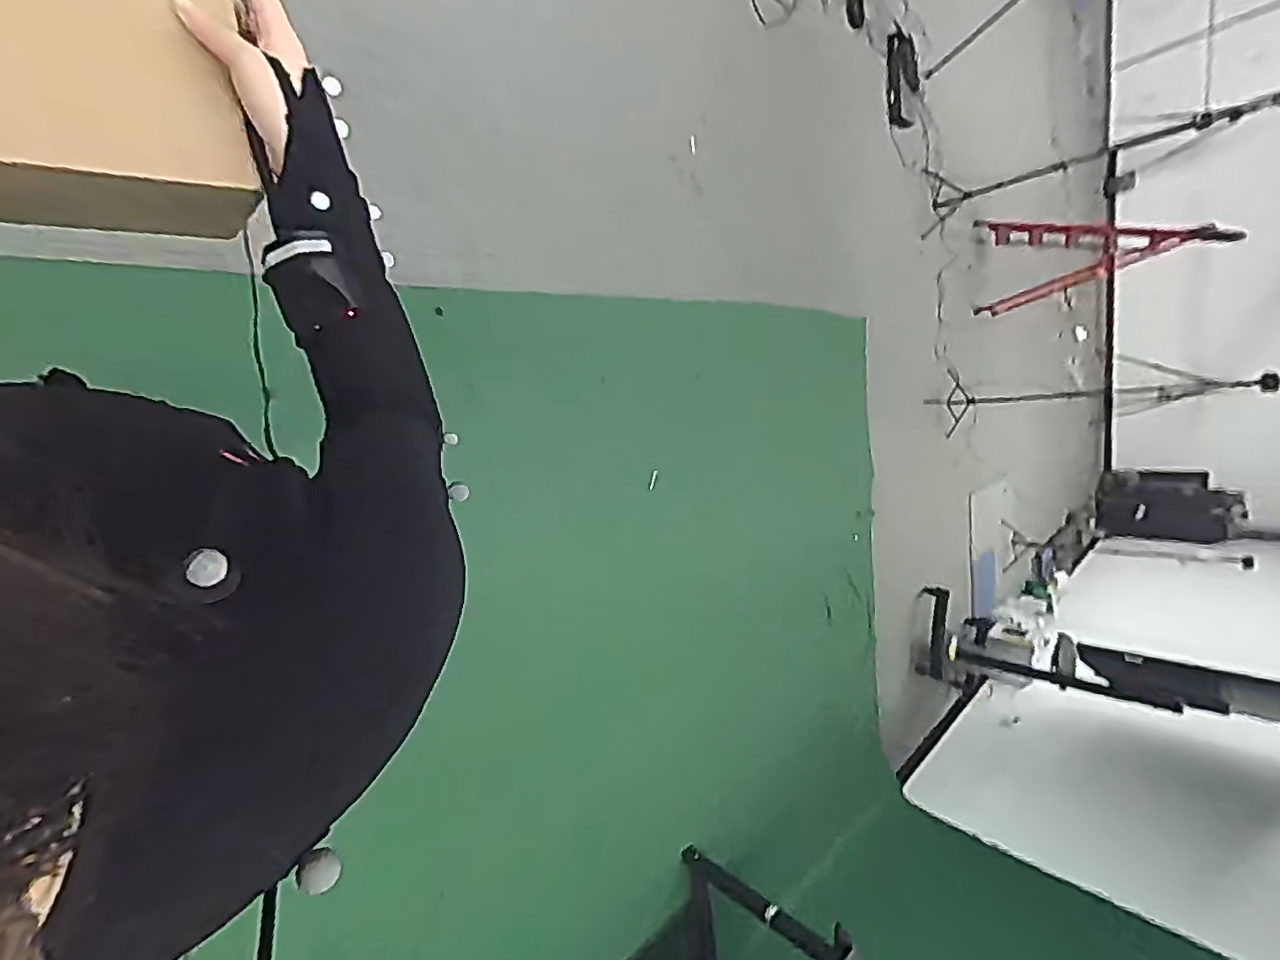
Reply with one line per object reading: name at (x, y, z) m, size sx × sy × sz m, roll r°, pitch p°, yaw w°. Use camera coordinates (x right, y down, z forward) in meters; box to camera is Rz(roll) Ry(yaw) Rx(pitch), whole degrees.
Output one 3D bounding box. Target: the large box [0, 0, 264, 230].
large box at (-0.544, -0.370, 0.380) m, size 0.408 × 0.320 × 0.320 m, roll -13°, pitch 110°, yaw -36°
